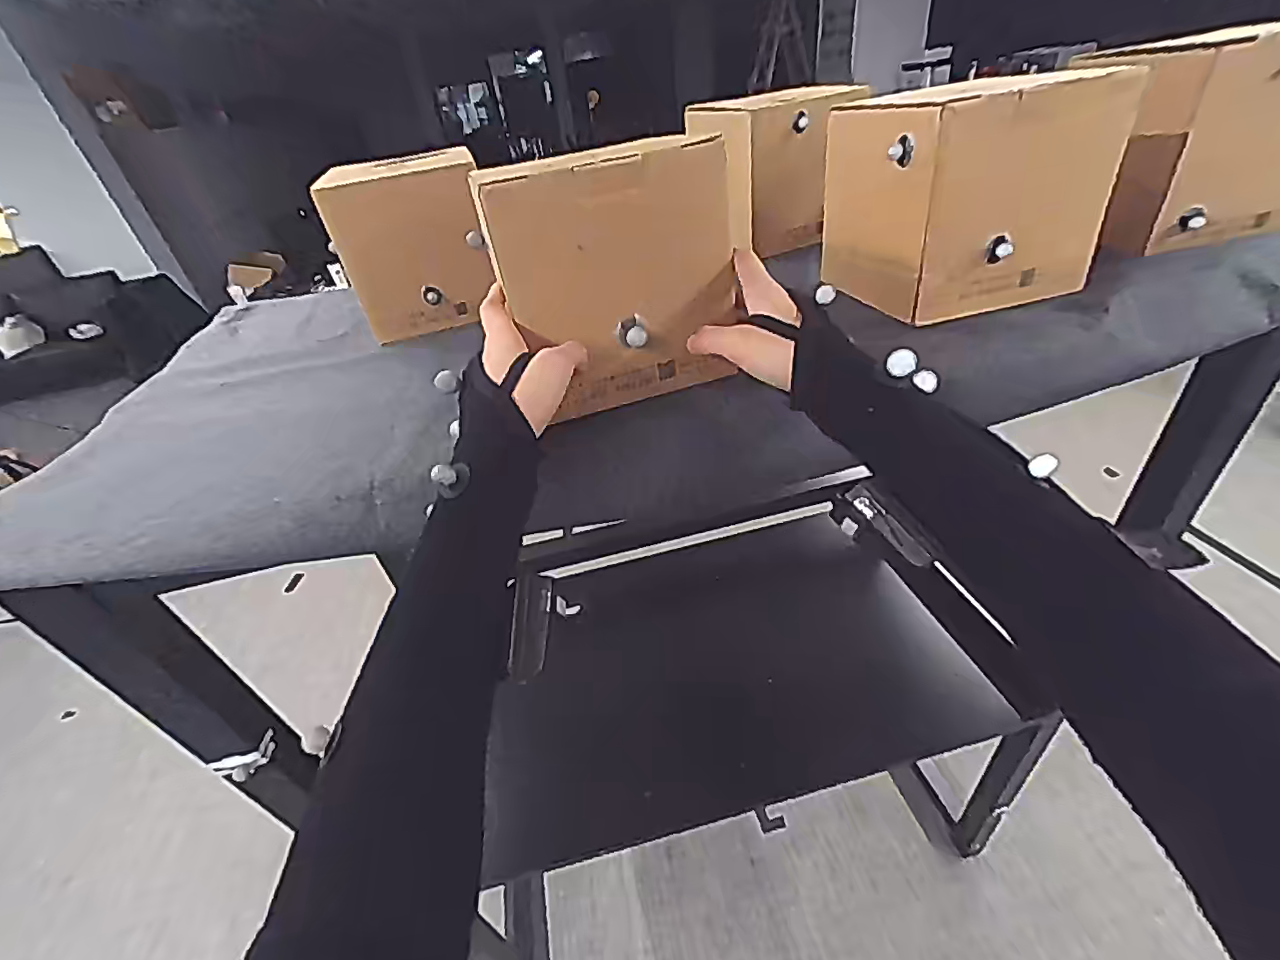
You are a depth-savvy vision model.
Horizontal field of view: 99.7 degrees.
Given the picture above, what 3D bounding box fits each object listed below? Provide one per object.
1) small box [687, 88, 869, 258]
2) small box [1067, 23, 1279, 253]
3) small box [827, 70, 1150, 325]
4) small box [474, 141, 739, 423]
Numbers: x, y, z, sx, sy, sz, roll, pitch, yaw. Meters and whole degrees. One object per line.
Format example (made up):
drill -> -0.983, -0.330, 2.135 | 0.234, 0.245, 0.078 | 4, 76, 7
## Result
small box -> 0.177, -0.413, 0.734 | 0.168, 0.176, 0.179 | -20, 38, -13
small box -> 0.551, -0.338, 0.545 | 0.168, 0.176, 0.179 | -9, 34, 2
small box -> 0.289, -0.259, 0.502 | 0.168, 0.176, 0.179 | -14, 35, -5
small box -> -0.030, -0.168, 0.449 | 0.168, 0.176, 0.179 | -17, 35, -9
